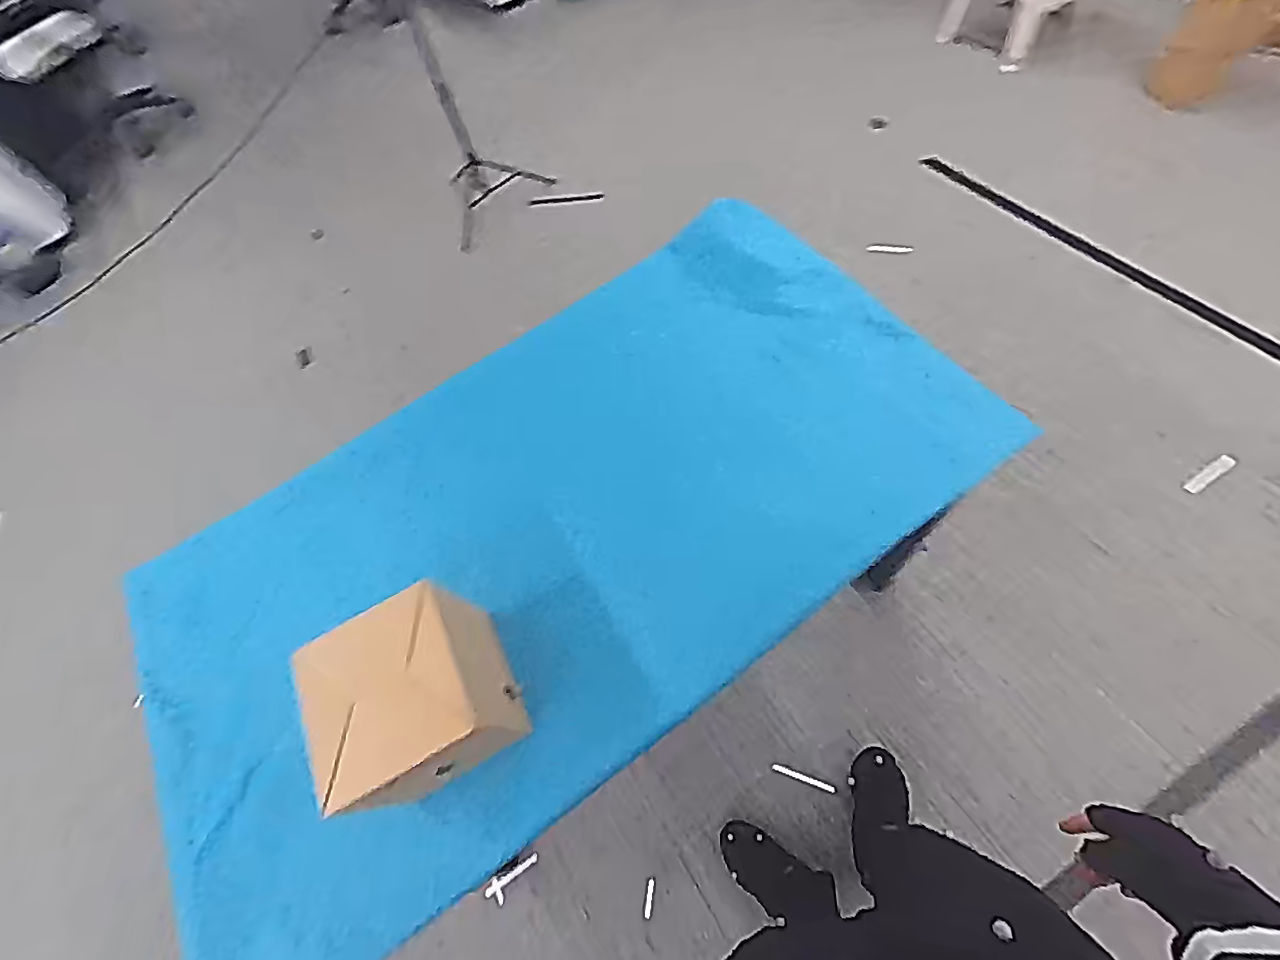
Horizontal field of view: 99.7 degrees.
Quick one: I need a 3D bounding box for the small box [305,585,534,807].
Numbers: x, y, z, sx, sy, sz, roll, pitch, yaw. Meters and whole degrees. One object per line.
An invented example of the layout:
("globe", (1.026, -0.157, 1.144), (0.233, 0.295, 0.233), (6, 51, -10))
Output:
("small box", (-0.254, 0.252, 0.634), (0.168, 0.176, 0.179), (-30, 63, -6))
